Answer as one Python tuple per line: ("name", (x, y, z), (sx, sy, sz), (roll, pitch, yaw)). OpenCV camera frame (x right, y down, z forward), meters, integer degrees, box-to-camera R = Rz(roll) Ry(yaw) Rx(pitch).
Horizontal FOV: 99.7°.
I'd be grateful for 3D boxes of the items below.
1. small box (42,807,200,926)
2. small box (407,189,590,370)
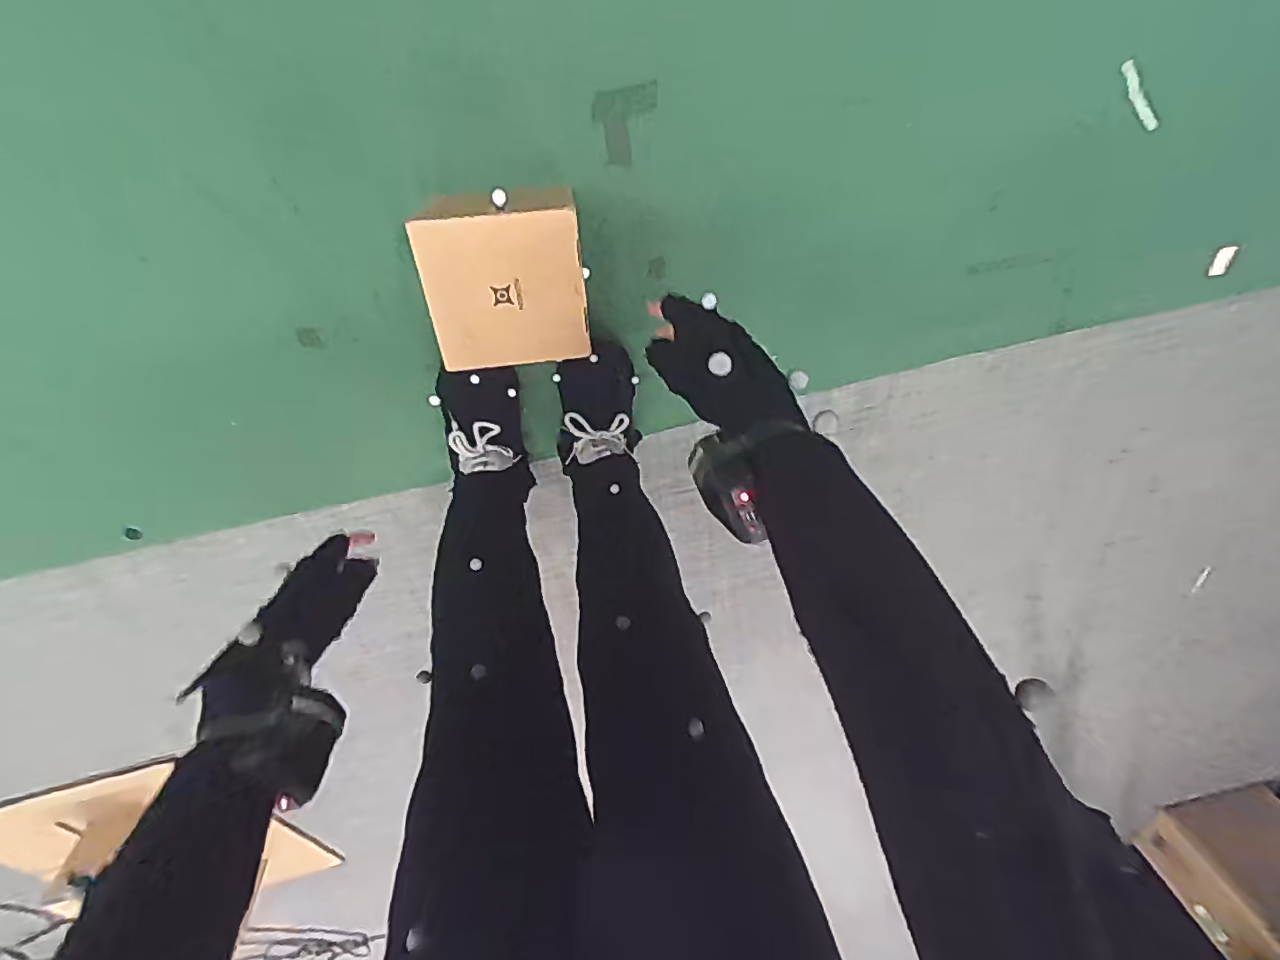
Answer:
("small box", (-1.209, 0.911, 1.280), (0.179, 0.176, 0.168), (-16, 128, 0))
("small box", (-0.161, -0.252, 0.666), (0.179, 0.176, 0.168), (-8, 126, -6))
